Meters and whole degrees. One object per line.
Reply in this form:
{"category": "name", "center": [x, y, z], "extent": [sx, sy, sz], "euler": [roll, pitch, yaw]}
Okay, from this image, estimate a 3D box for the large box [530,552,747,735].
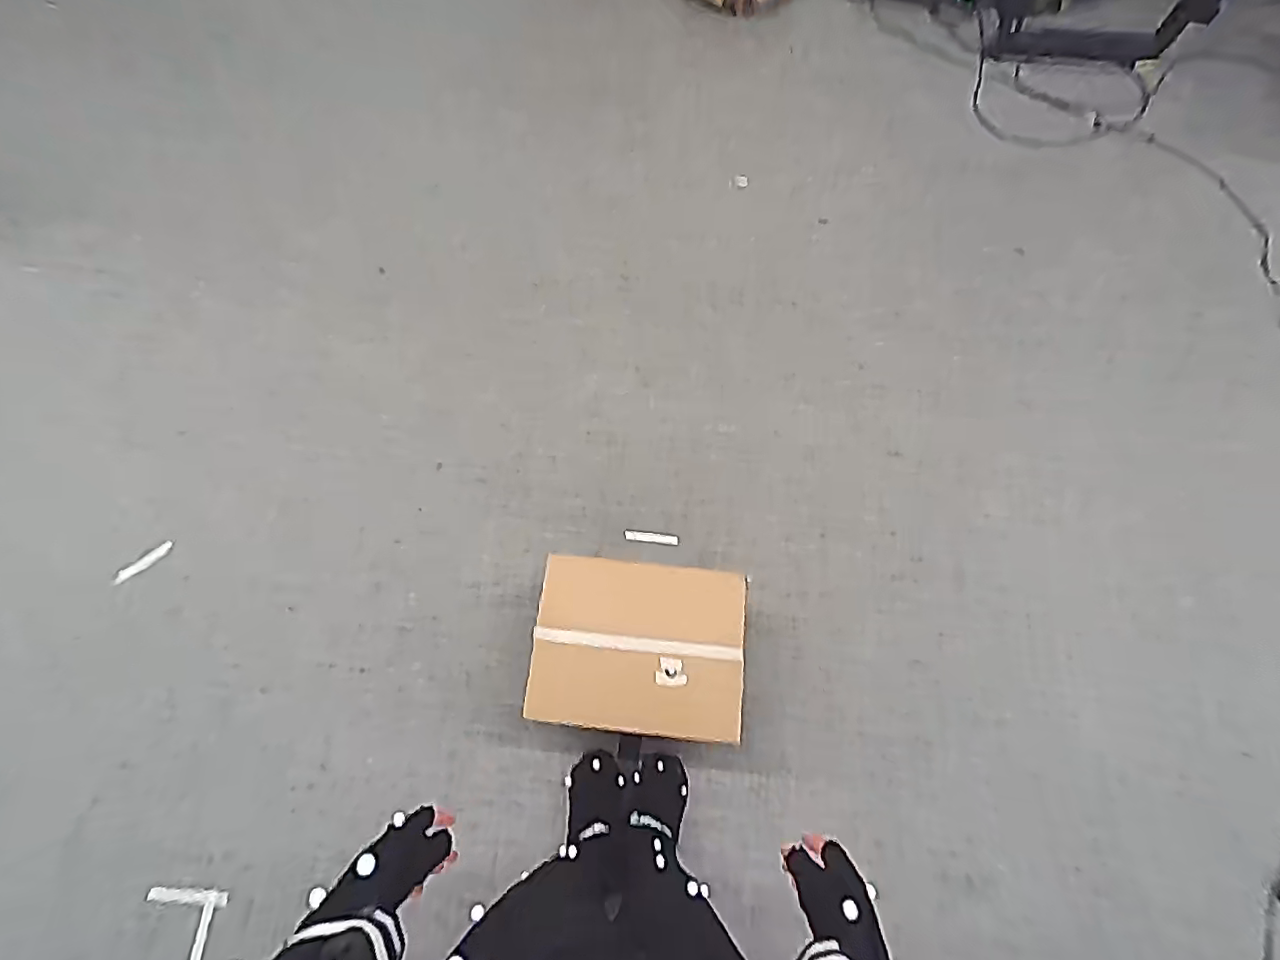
{"category": "large box", "center": [0.001, 0.356, 1.184], "extent": [0.408, 0.320, 0.320], "euler": [6, 72, 1]}
